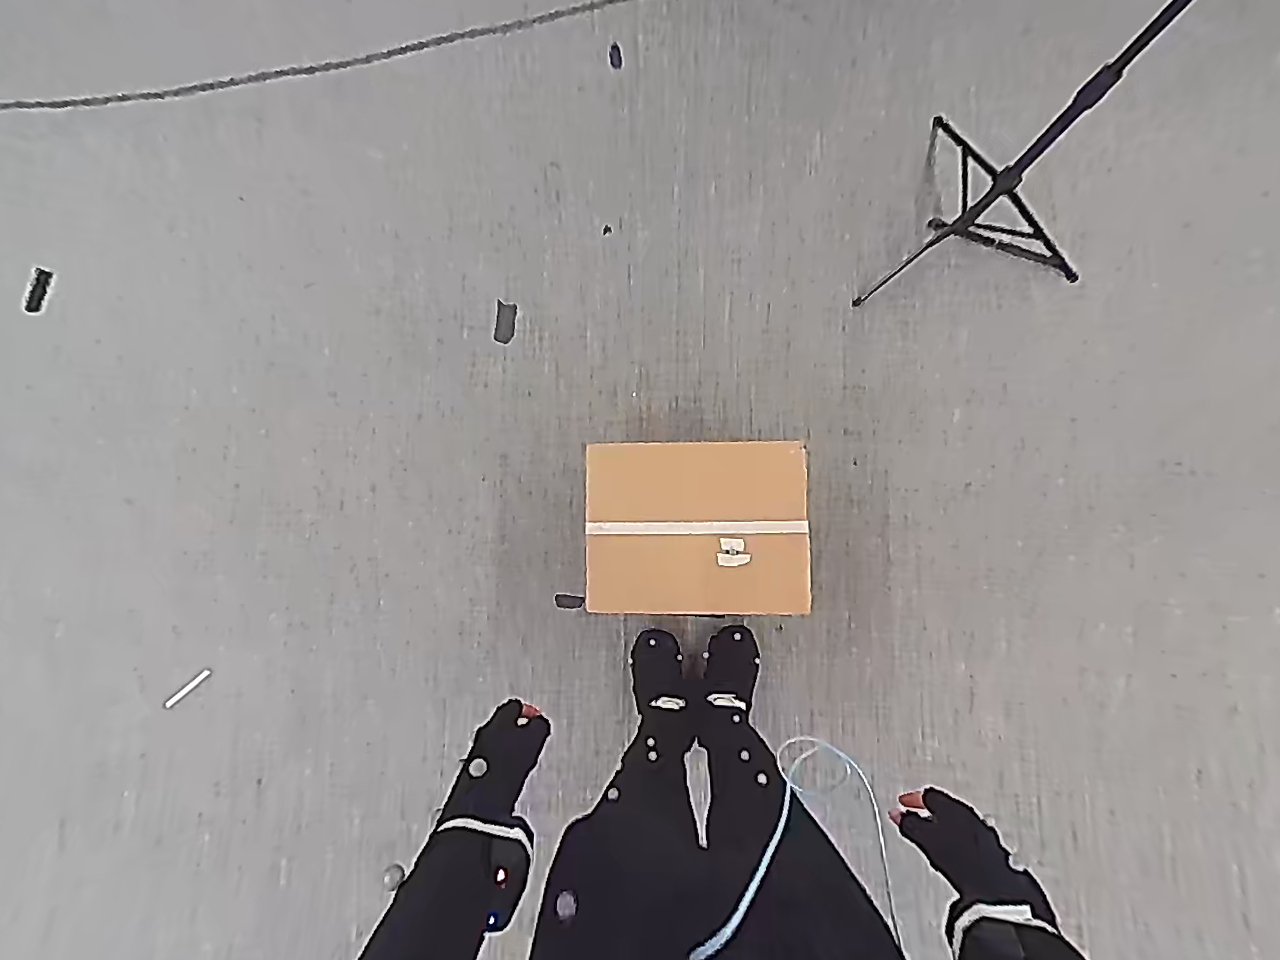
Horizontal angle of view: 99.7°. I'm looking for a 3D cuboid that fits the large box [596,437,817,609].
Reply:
[{"bbox_3d":[0.126,0.091,1.141,0.408,0.320,0.320,-1,86,4],"label":"large box"}]
